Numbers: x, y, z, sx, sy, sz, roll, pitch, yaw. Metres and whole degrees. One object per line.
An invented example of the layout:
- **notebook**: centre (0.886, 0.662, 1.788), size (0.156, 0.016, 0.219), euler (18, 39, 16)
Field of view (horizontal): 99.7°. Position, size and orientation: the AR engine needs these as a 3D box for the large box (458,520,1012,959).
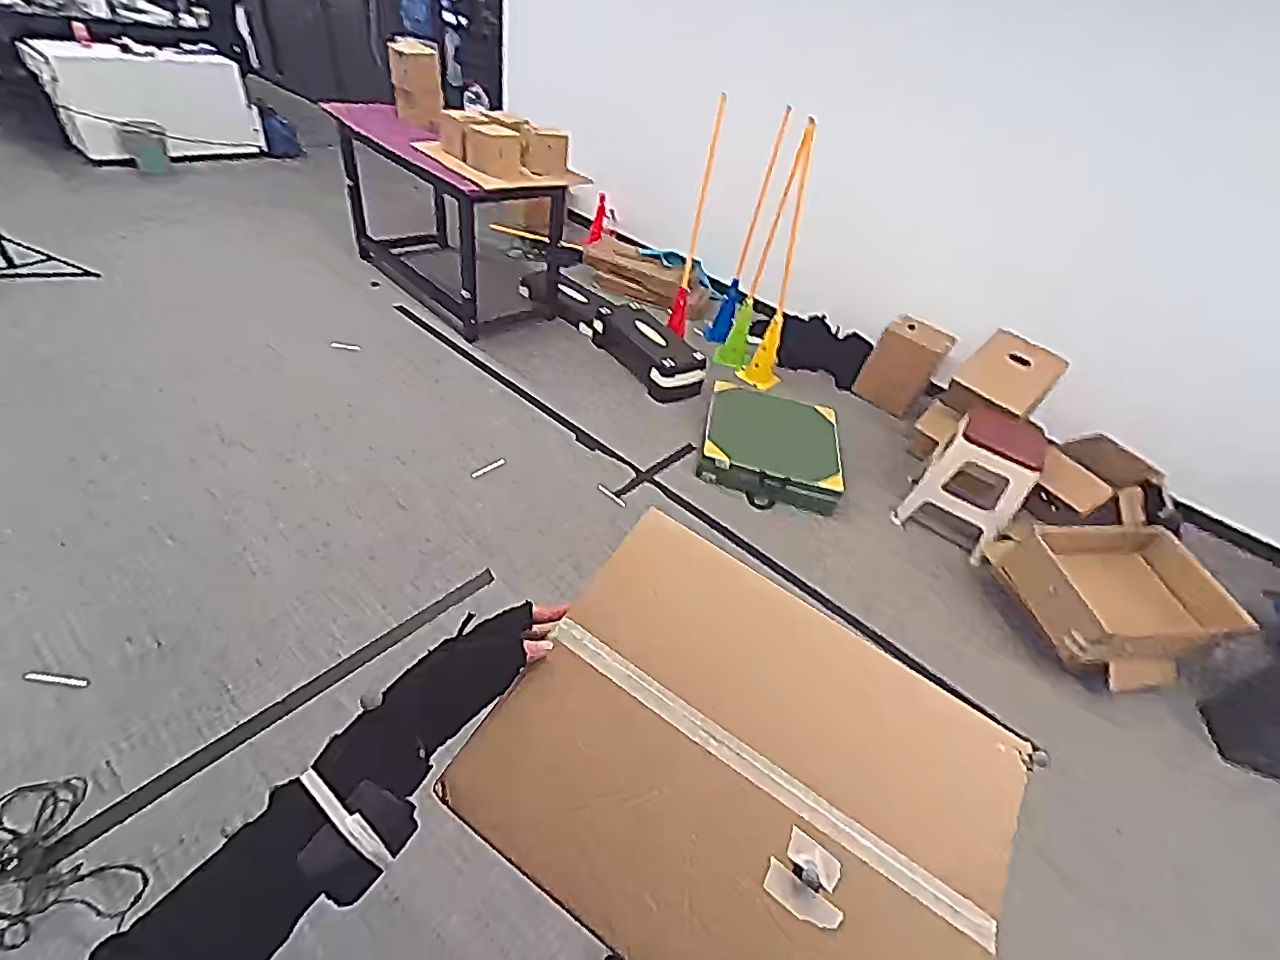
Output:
- **large box**: centre (0.078, 0.321, 0.585), size (0.408, 0.320, 0.320), euler (33, 60, 12)
